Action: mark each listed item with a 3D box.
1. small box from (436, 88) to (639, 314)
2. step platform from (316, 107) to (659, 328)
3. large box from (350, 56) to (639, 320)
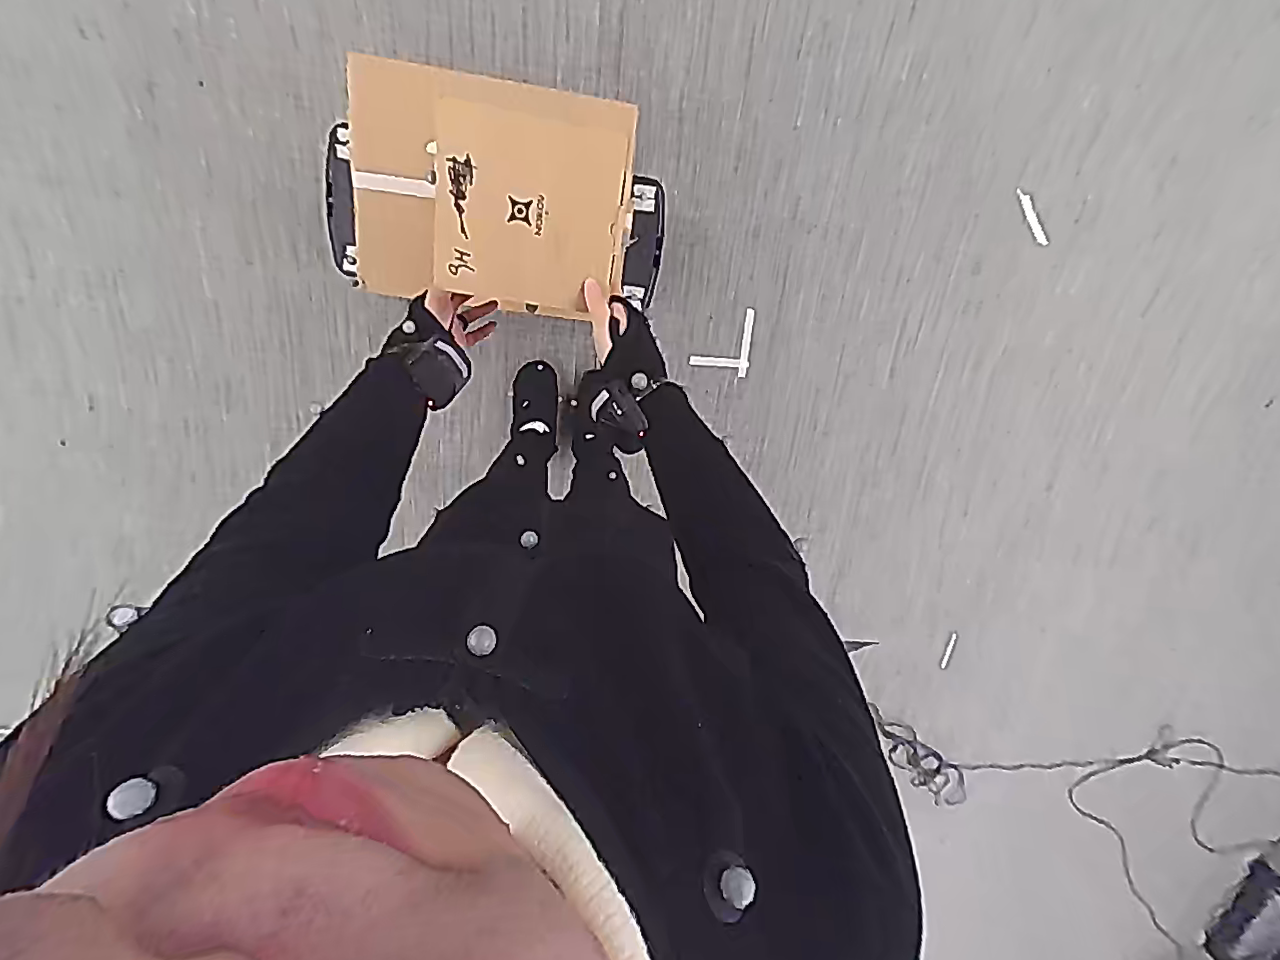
[{"bbox_3d":[-0.108,-0.283,0.581,0.179,0.176,0.168,7,110,-9],"label":"small box"},{"bbox_3d":[-0.304,-0.539,1.162,0.684,0.204,0.286,11,109,-9],"label":"step platform"},{"bbox_3d":[-0.224,-0.469,0.941,0.408,0.320,0.320,5,109,-7],"label":"large box"}]
